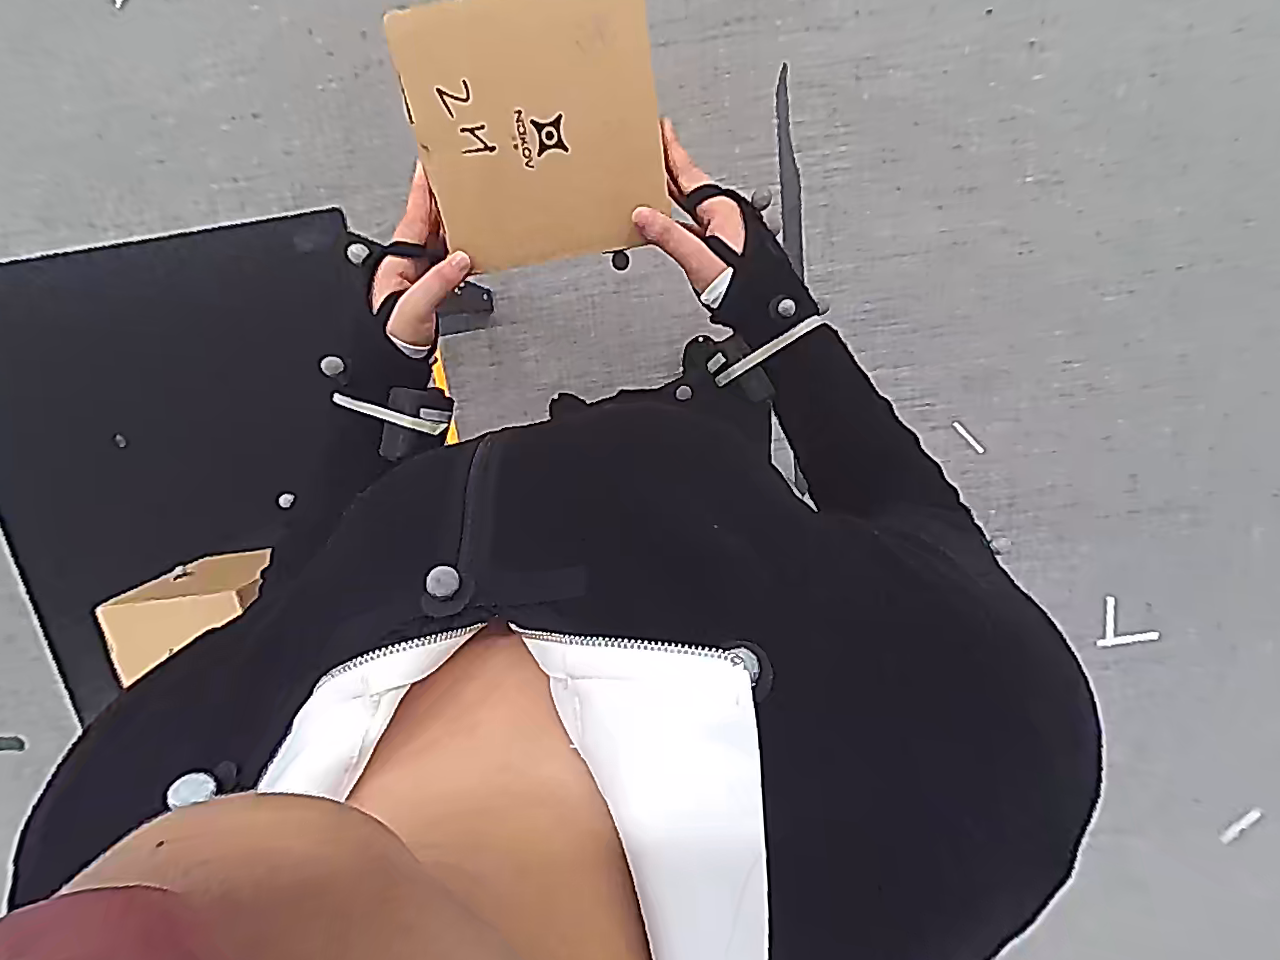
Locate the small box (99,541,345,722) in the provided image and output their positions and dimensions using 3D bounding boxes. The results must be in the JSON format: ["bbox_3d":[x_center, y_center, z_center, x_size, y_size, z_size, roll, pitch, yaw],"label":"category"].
[{"bbox_3d":[-0.541,0.194,0.727,0.179,0.176,0.168,-8,103,2],"label":"small box"}]

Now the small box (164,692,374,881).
[{"bbox_3d":[-0.507,0.425,0.776,0.179,0.176,0.168,-7,101,2],"label":"small box"}]
